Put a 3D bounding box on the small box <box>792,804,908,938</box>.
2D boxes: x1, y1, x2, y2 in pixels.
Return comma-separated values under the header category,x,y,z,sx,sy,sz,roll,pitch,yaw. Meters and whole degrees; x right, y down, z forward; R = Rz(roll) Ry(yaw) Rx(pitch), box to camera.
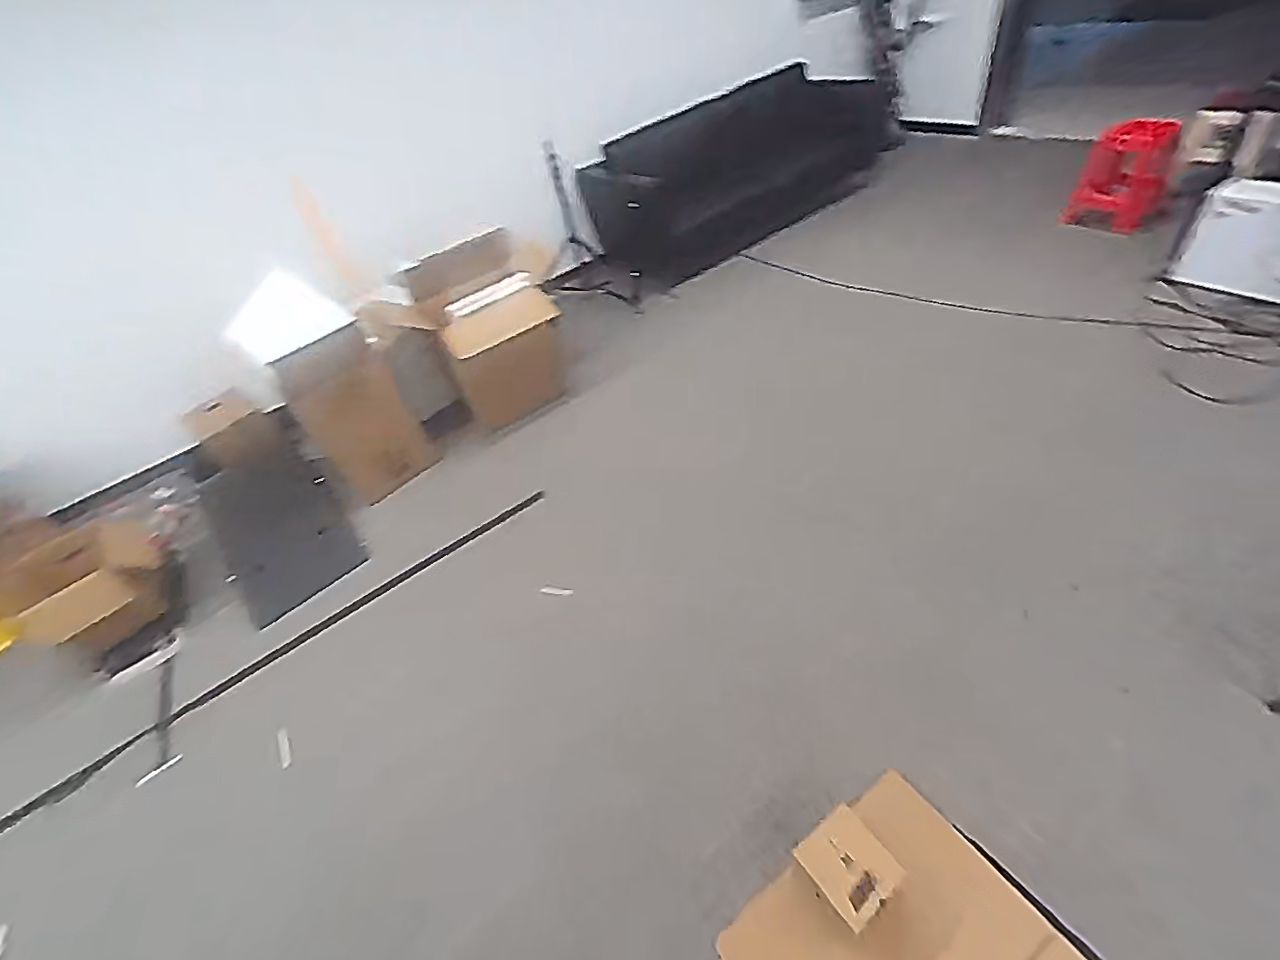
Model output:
category,x,y,z,sx,sy,sz,roll,pitch,yaw
small box,0.462,0.877,1.208,0.168,0.176,0.179,-31,44,-17
